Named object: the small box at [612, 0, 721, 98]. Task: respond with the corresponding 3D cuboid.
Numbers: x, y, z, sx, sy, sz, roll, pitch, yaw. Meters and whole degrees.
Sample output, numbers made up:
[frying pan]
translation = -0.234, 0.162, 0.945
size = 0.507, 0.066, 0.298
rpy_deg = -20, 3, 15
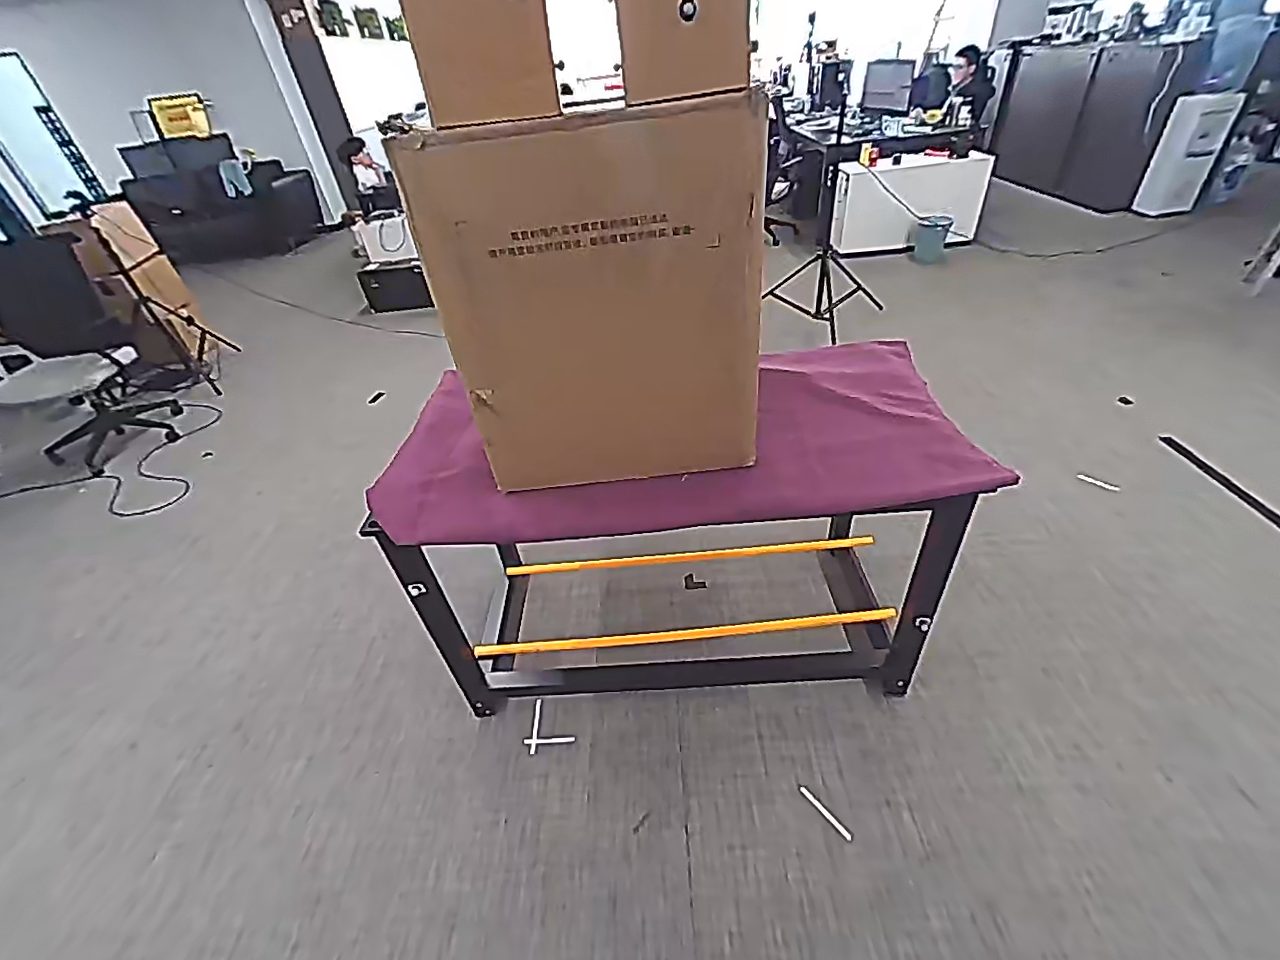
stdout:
[small box]
translation = 0.042, -0.745, 0.895
size = 0.168, 0.176, 0.179
rpy_deg = -6, 38, 4
